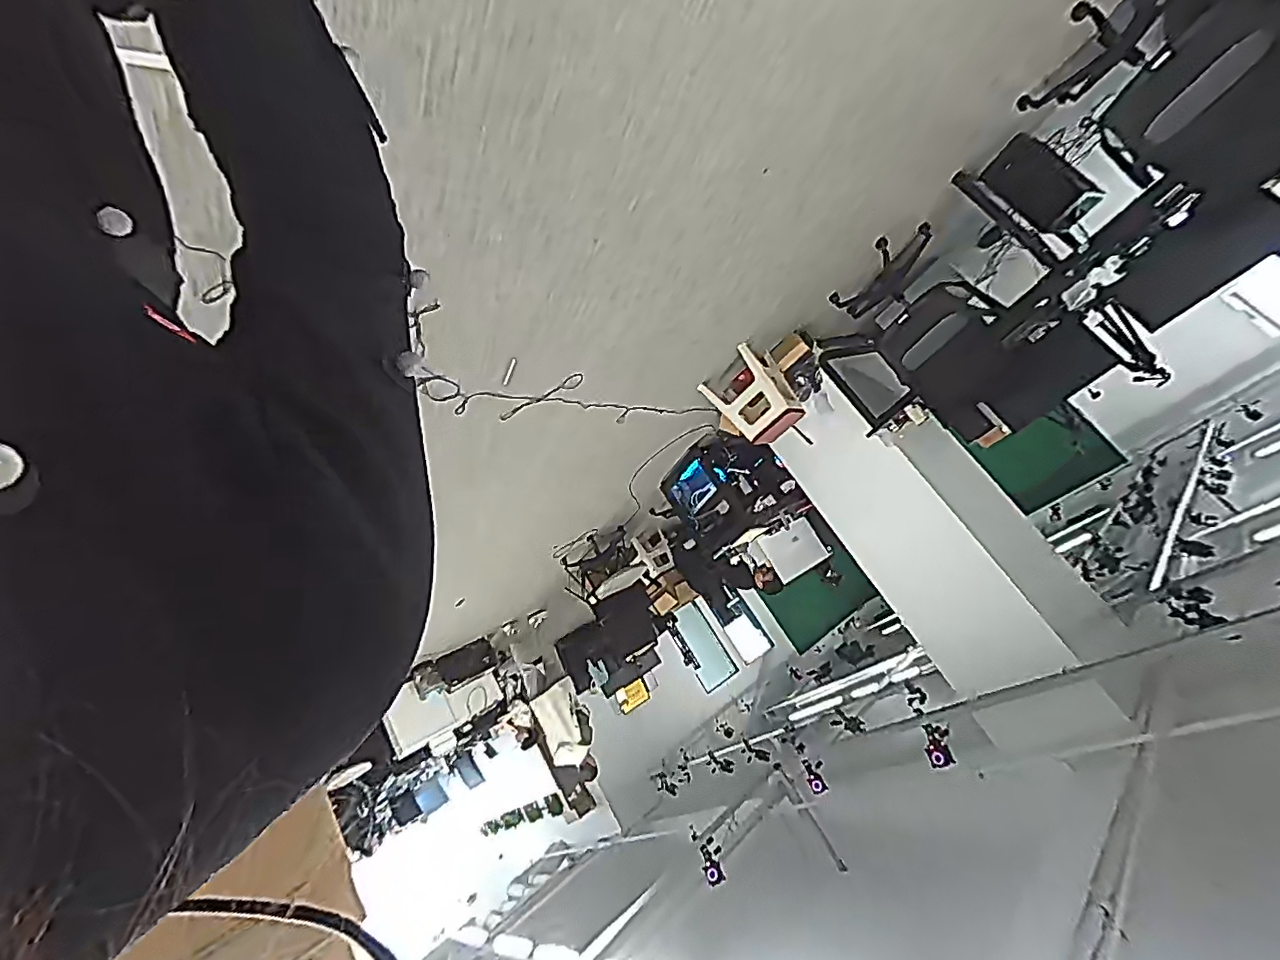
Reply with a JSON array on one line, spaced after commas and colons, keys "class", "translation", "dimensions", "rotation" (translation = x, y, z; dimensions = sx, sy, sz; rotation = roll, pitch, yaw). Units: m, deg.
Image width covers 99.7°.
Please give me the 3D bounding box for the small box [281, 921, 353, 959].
[{"class": "small box", "translation": [-0.981, 1.489, 1.640], "dimensions": [0.168, 0.176, 0.179], "rotation": [-20, 159, -33]}]
